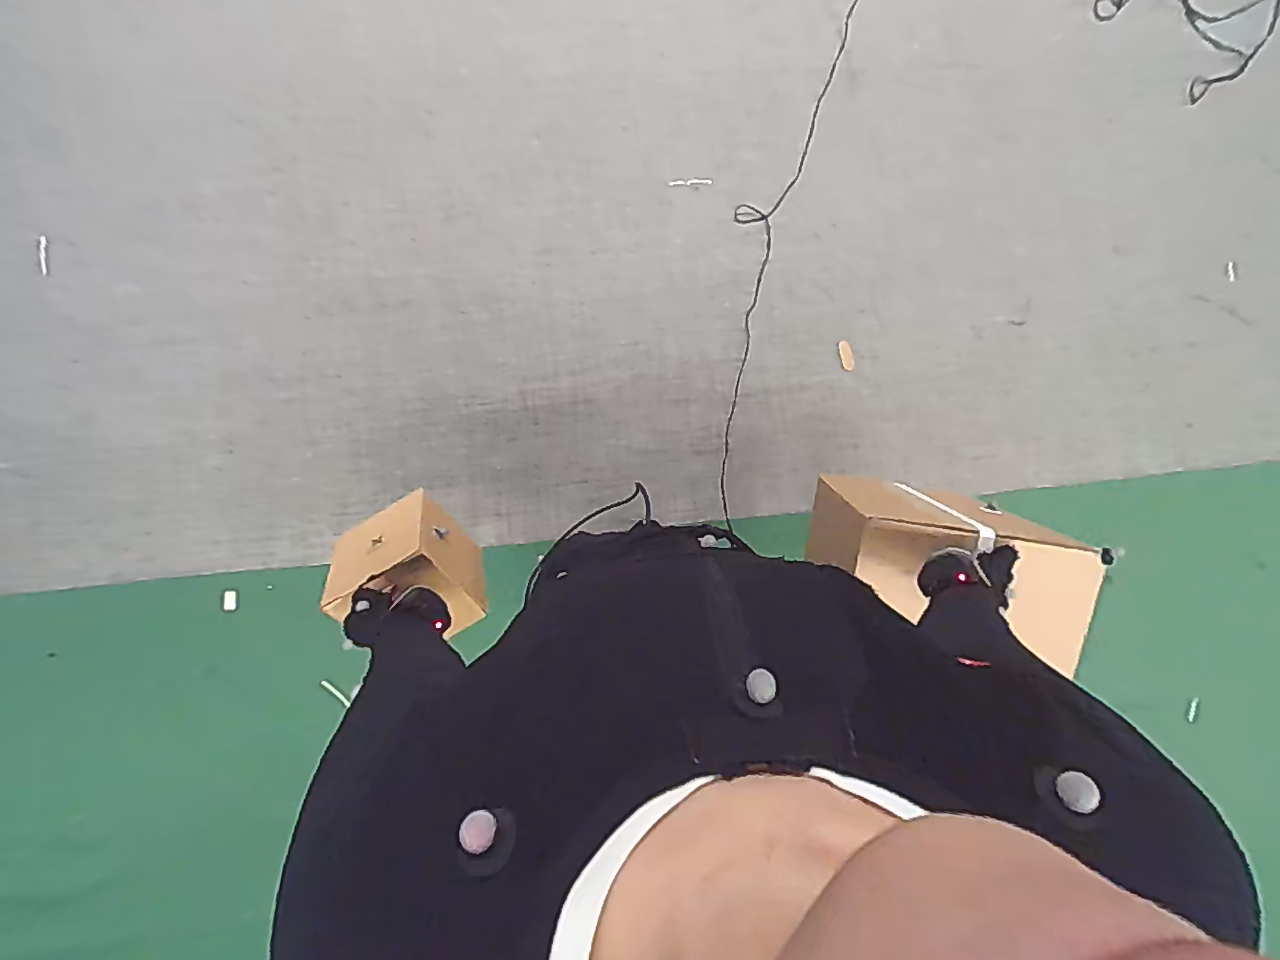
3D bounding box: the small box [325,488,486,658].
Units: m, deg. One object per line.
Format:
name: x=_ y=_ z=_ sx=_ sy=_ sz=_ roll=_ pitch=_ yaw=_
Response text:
small box: x=-0.369 y=0.151 z=0.882 sx=0.168 sy=0.179 sz=0.176 roll=-30 pitch=126 yaw=0
